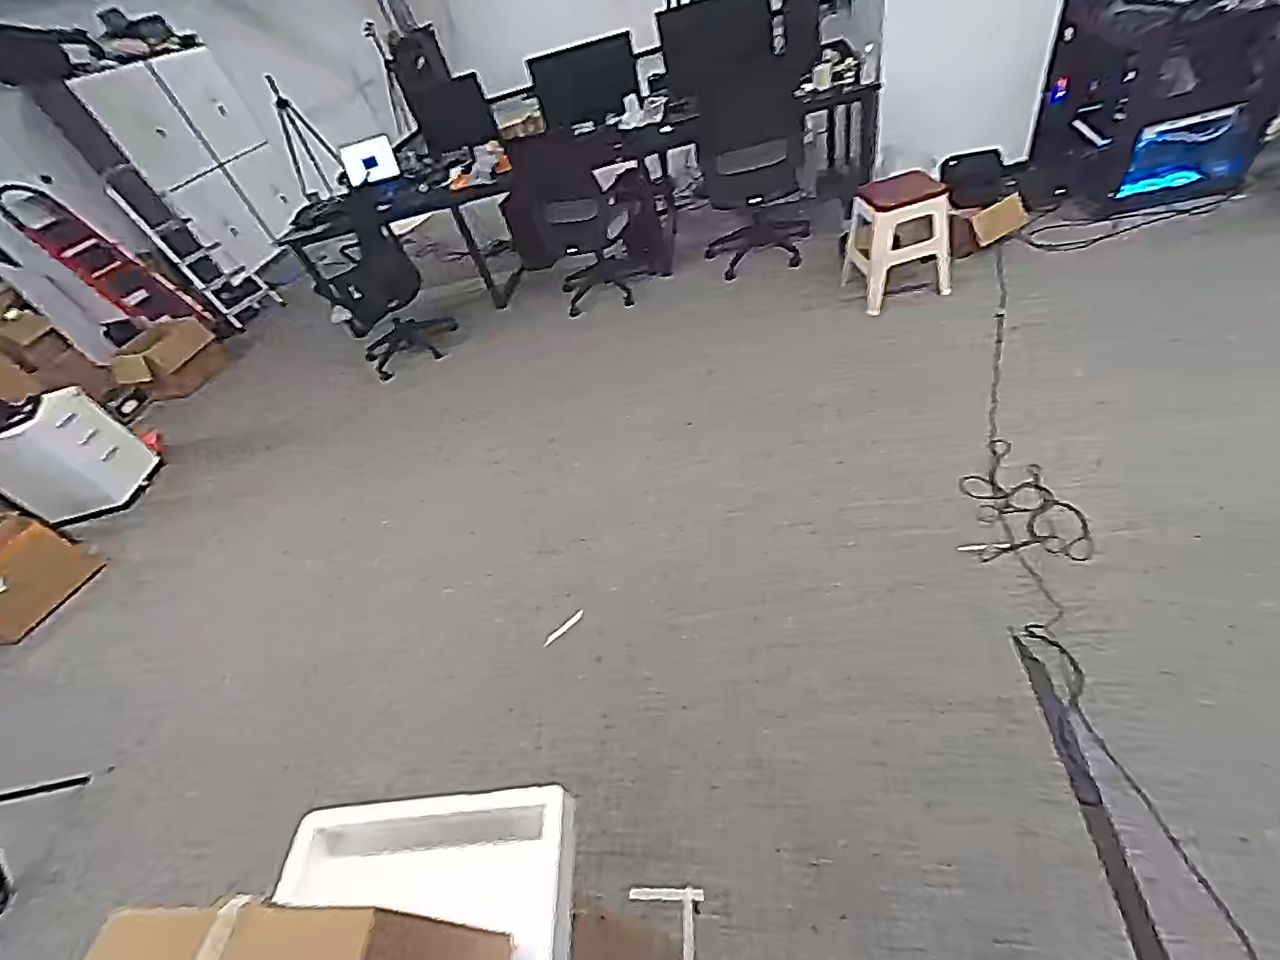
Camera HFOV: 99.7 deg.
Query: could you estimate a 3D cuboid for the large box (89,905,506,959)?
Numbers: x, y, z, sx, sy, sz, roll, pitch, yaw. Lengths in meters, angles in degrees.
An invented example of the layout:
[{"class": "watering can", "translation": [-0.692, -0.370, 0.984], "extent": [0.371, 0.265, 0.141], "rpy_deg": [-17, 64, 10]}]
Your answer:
[{"class": "large box", "translation": [-0.349, 0.658, 0.491], "extent": [0.320, 0.320, 0.408], "rpy_deg": [-10, 46, 11]}]
